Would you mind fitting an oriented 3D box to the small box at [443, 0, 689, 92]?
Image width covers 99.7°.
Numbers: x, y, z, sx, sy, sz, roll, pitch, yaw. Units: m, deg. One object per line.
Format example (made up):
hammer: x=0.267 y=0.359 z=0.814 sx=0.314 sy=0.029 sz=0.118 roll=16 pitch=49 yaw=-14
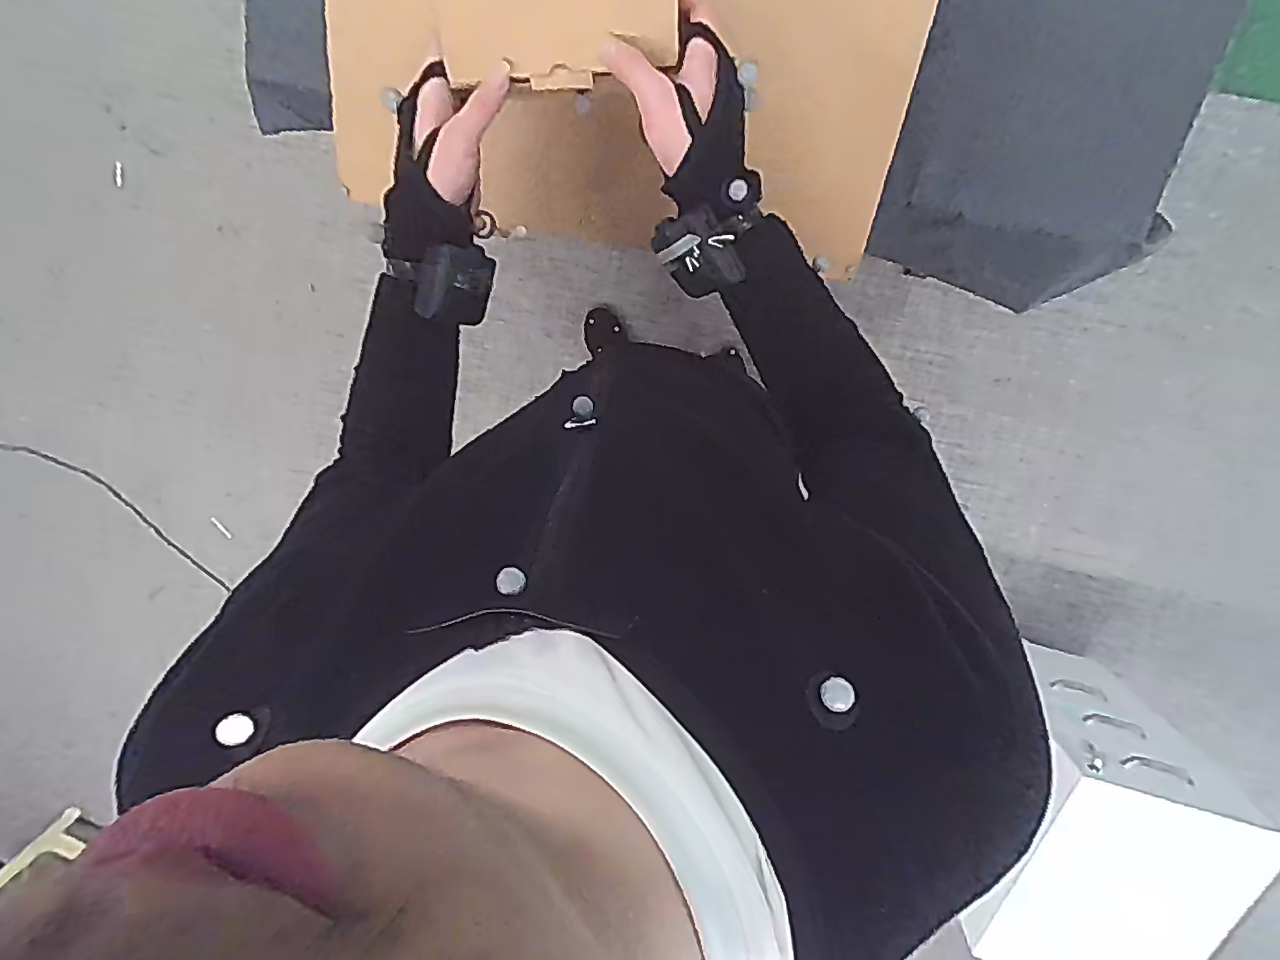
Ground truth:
small box: x=-0.049 y=-0.405 z=0.404 sx=0.168 sy=0.176 sz=0.179 roll=-2 pitch=122 yaw=7
